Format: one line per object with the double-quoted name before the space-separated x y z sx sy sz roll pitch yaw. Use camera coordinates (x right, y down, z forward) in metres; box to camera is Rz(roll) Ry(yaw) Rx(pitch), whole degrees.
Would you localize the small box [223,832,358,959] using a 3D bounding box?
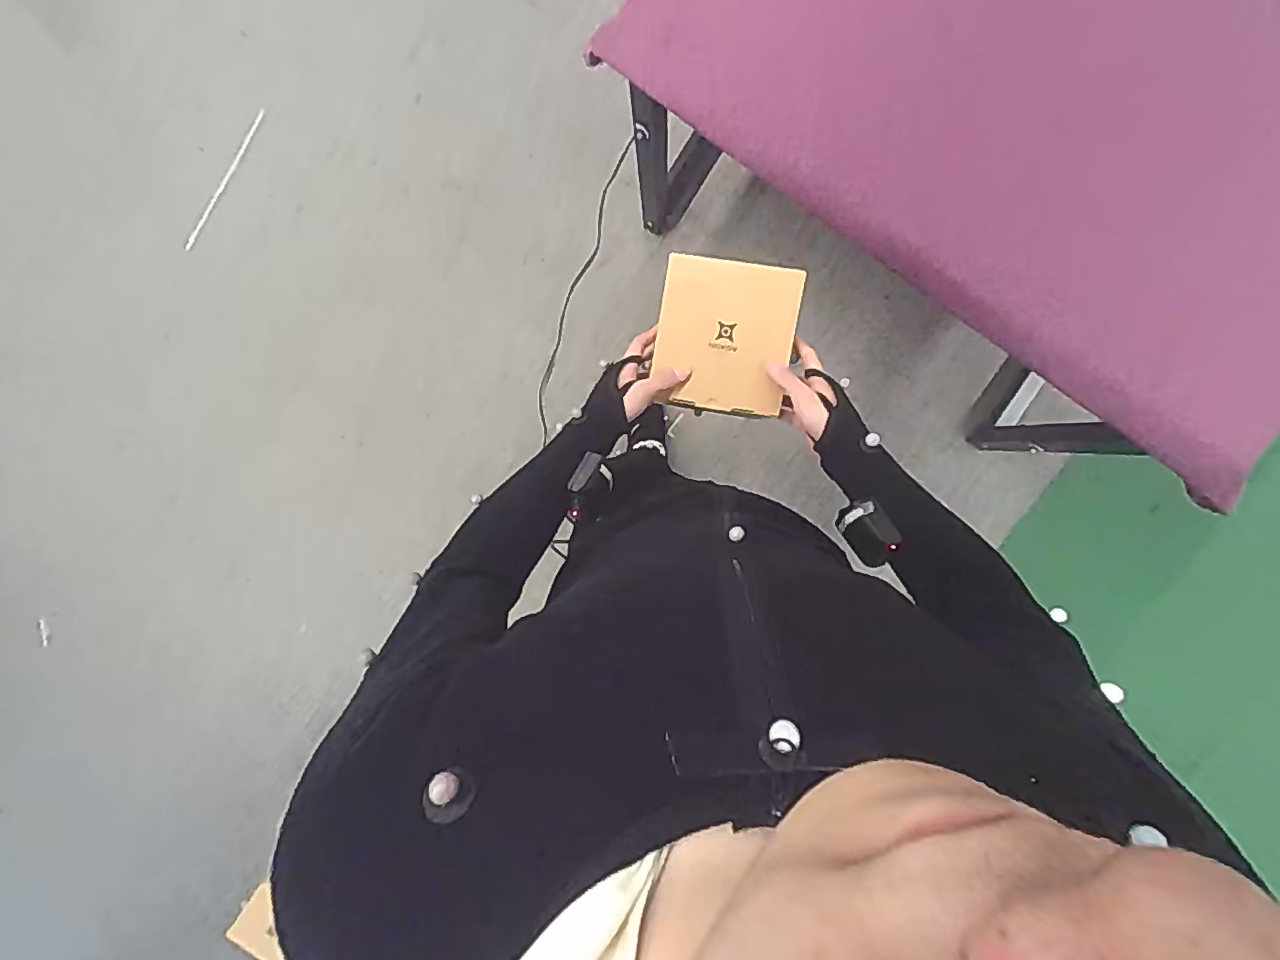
"small box" -0.804 0.985 1.264 0.168 0.176 0.179 36 96 -1
